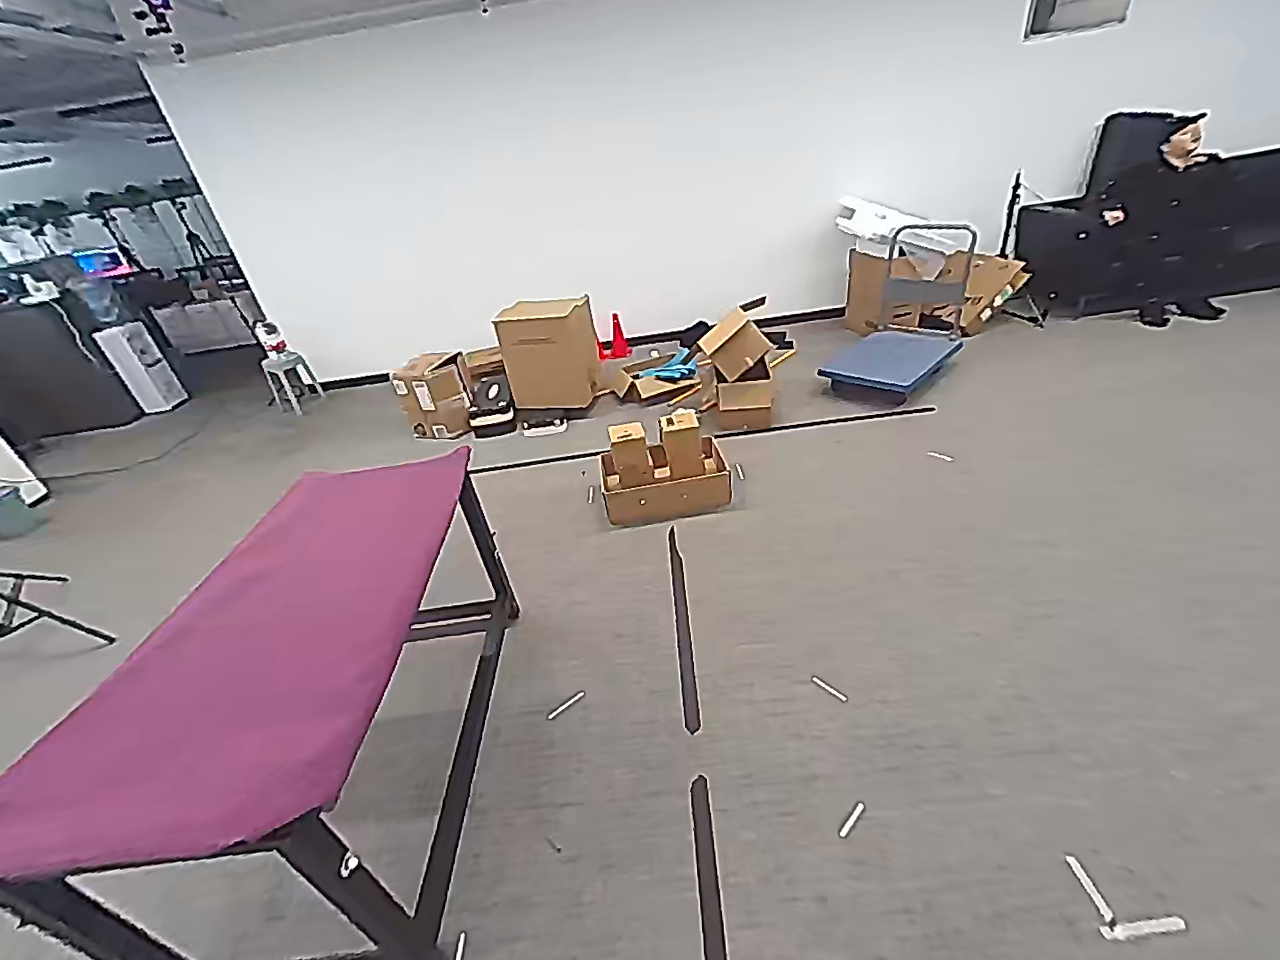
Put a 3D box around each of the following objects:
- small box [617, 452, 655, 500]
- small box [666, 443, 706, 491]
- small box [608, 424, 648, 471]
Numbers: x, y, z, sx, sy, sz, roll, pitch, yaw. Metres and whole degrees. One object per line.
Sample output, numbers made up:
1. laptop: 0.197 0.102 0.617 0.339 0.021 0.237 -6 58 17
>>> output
1. small box: -0.022 -0.020 2.745 0.179 0.176 0.168 -10 30 -3
2. small box: 0.234 -0.063 2.752 0.168 0.176 0.179 -11 32 -1
3. small box: -0.059 -0.153 2.653 0.168 0.176 0.179 -10 30 -4
